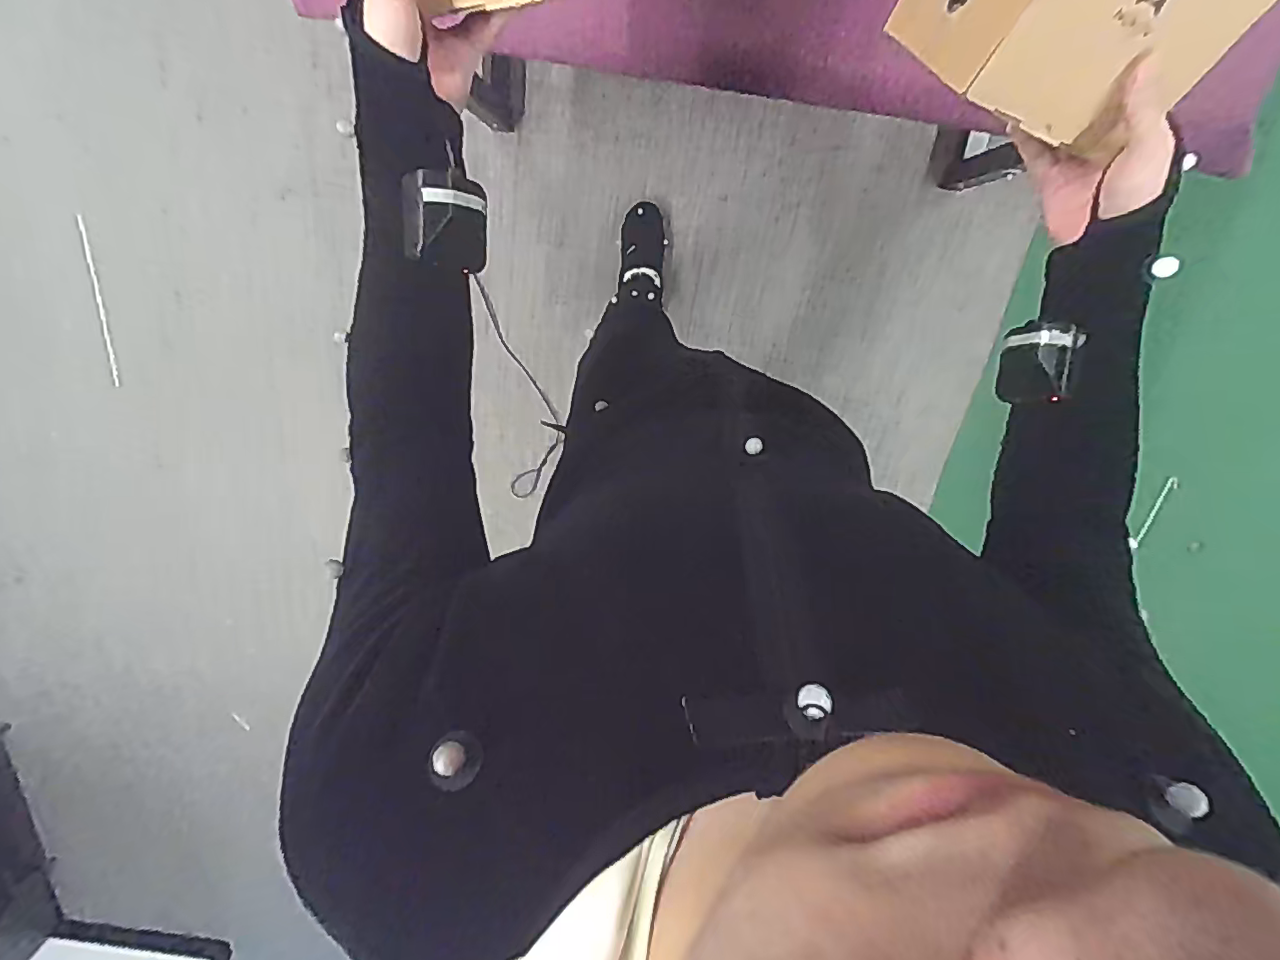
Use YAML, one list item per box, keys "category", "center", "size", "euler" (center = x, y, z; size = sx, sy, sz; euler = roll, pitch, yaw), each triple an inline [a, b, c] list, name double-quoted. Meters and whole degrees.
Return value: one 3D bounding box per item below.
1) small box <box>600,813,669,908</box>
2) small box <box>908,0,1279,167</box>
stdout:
- category: "small box"
  center: [-0.016, 1.158, 1.656]
  size: [0.179, 0.176, 0.168]
  euler: [13, 111, -3]
- category: "small box"
  center: [0.328, -0.377, 0.393]
  size: [0.168, 0.176, 0.179]
  euler: [10, 141, -19]
